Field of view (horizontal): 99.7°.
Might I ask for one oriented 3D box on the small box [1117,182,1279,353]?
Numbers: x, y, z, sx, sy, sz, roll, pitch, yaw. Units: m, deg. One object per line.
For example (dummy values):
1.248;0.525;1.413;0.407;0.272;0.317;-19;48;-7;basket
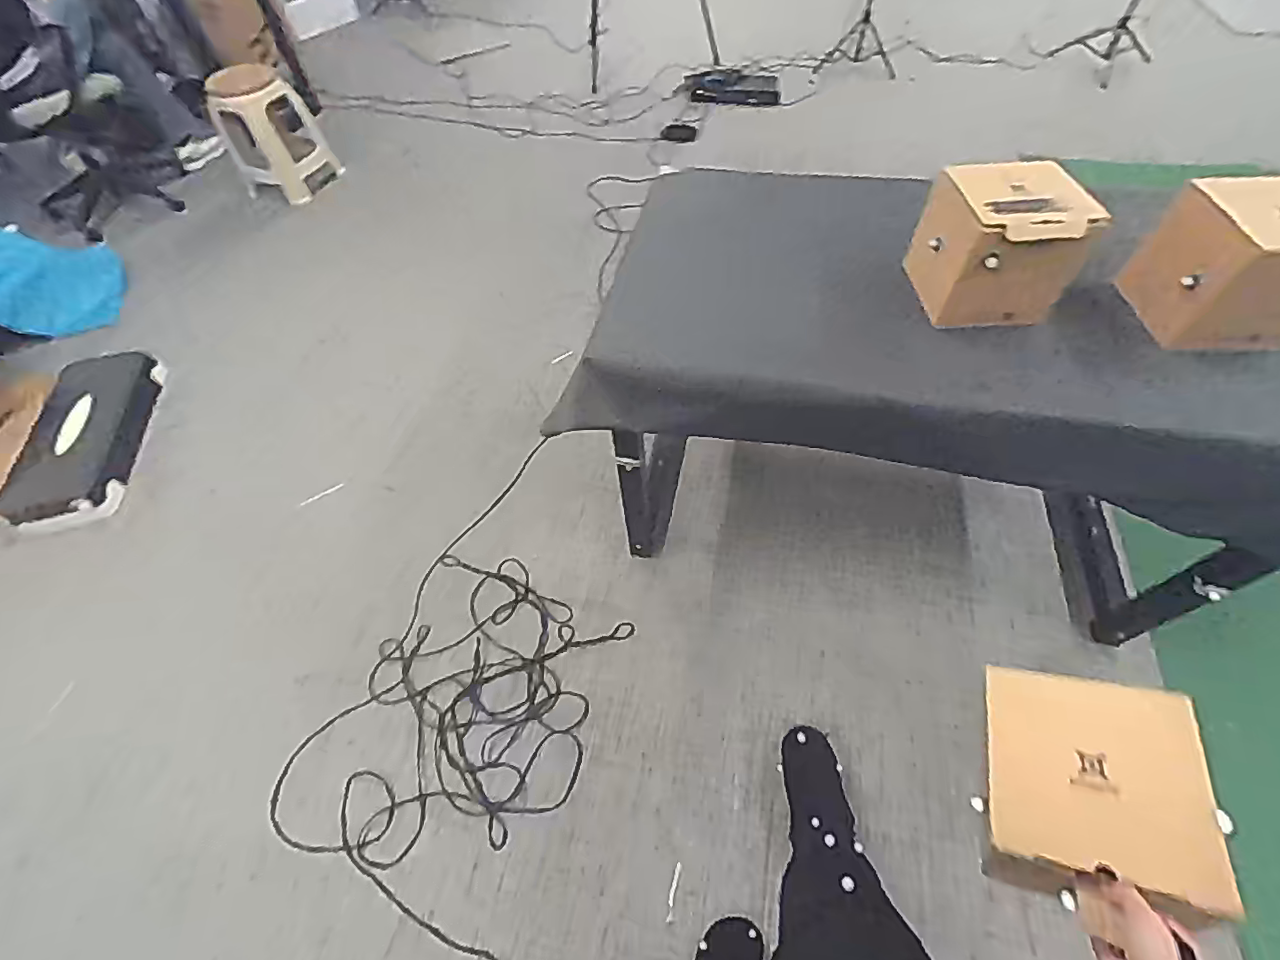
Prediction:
0.852;-0.298;0.772;0.168;0.176;0.179;1;54;3;small box
